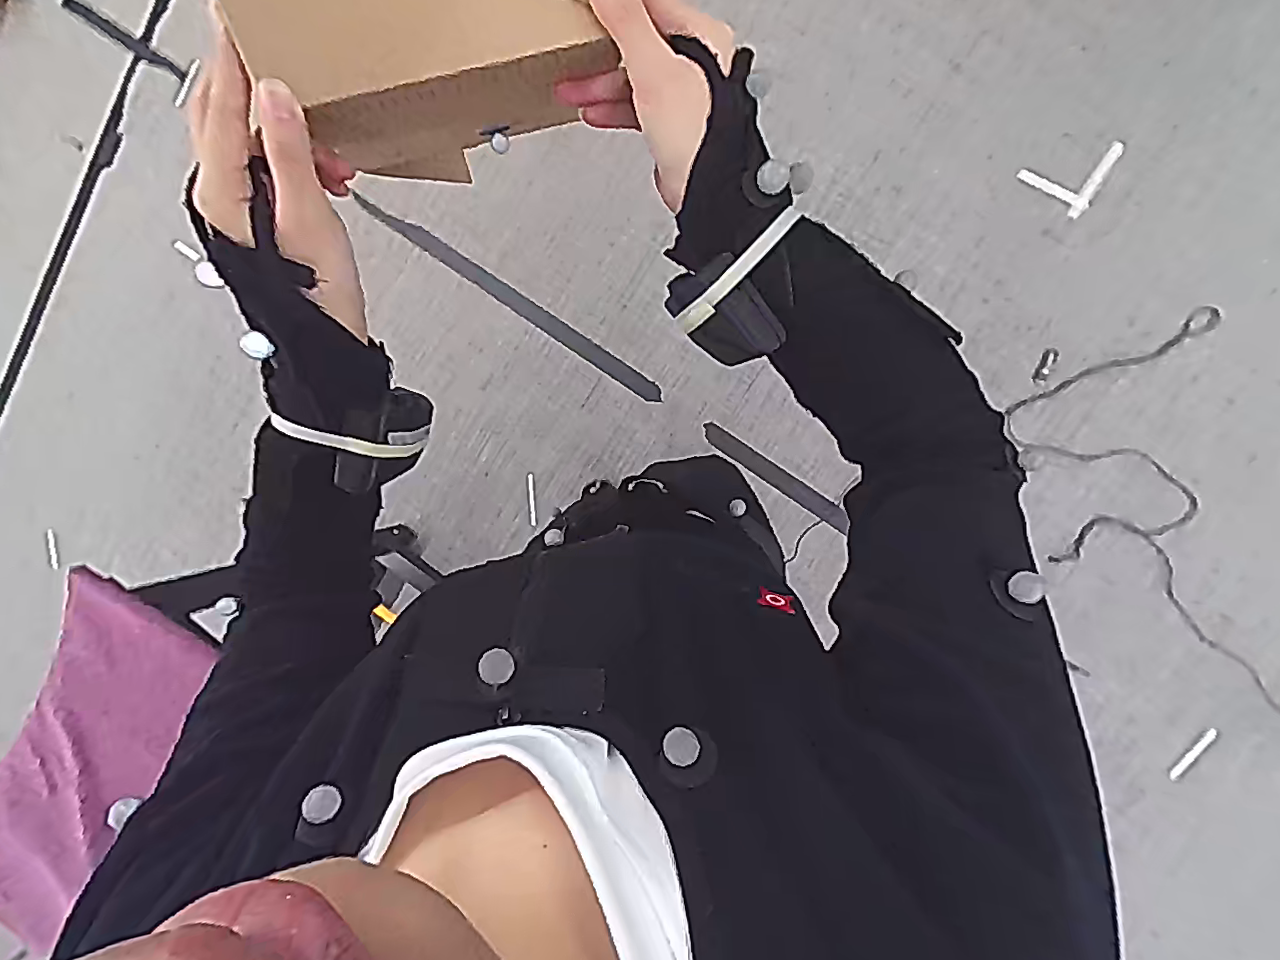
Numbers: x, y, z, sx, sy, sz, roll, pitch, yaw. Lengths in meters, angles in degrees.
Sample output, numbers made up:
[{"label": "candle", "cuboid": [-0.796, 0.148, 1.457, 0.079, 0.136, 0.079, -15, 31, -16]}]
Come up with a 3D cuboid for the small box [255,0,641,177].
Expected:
[{"label": "small box", "cuboid": [-0.110, -0.292, 0.304, 0.179, 0.176, 0.168, -17, 113, -7]}]
